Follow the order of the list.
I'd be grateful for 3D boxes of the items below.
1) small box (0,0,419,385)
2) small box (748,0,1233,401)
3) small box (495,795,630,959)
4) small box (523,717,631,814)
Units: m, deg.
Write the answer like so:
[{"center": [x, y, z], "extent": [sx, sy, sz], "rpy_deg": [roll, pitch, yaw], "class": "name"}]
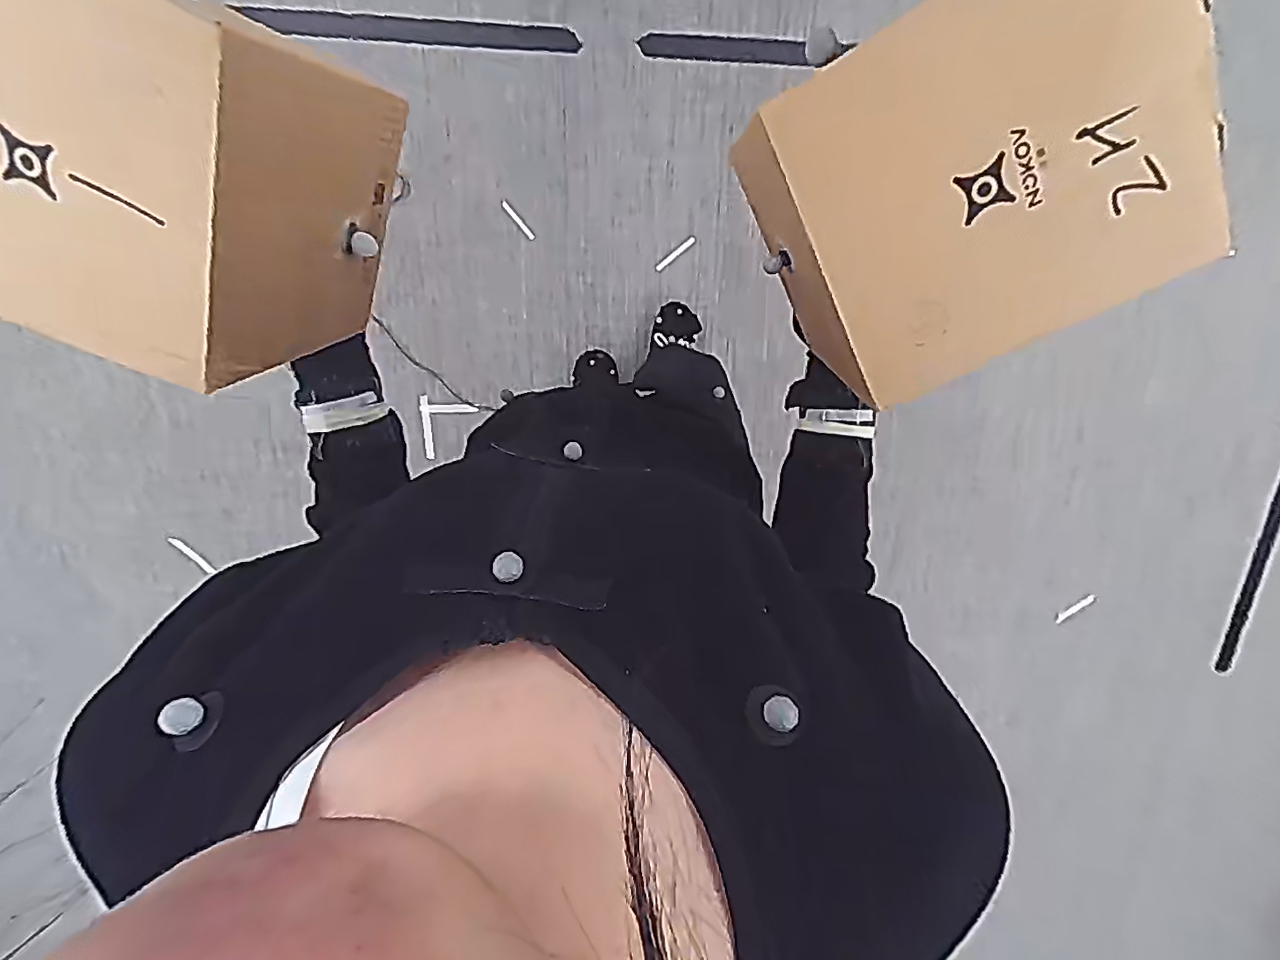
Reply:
[{"center": [-0.257, -0.180, 0.304], "extent": [0.179, 0.176, 0.168], "rpy_deg": [22, 117, -8], "class": "small box"}, {"center": [0.175, -0.175, 0.325], "extent": [0.179, 0.176, 0.168], "rpy_deg": [-26, 112, 15], "class": "small box"}, {"center": [-0.101, 0.574, 0.755], "extent": [0.168, 0.176, 0.179], "rpy_deg": [4, 107, -1], "class": "small box"}, {"center": [-0.105, 0.527, 0.911], "extent": [0.168, 0.176, 0.179], "rpy_deg": [4, 106, -2], "class": "small box"}]
